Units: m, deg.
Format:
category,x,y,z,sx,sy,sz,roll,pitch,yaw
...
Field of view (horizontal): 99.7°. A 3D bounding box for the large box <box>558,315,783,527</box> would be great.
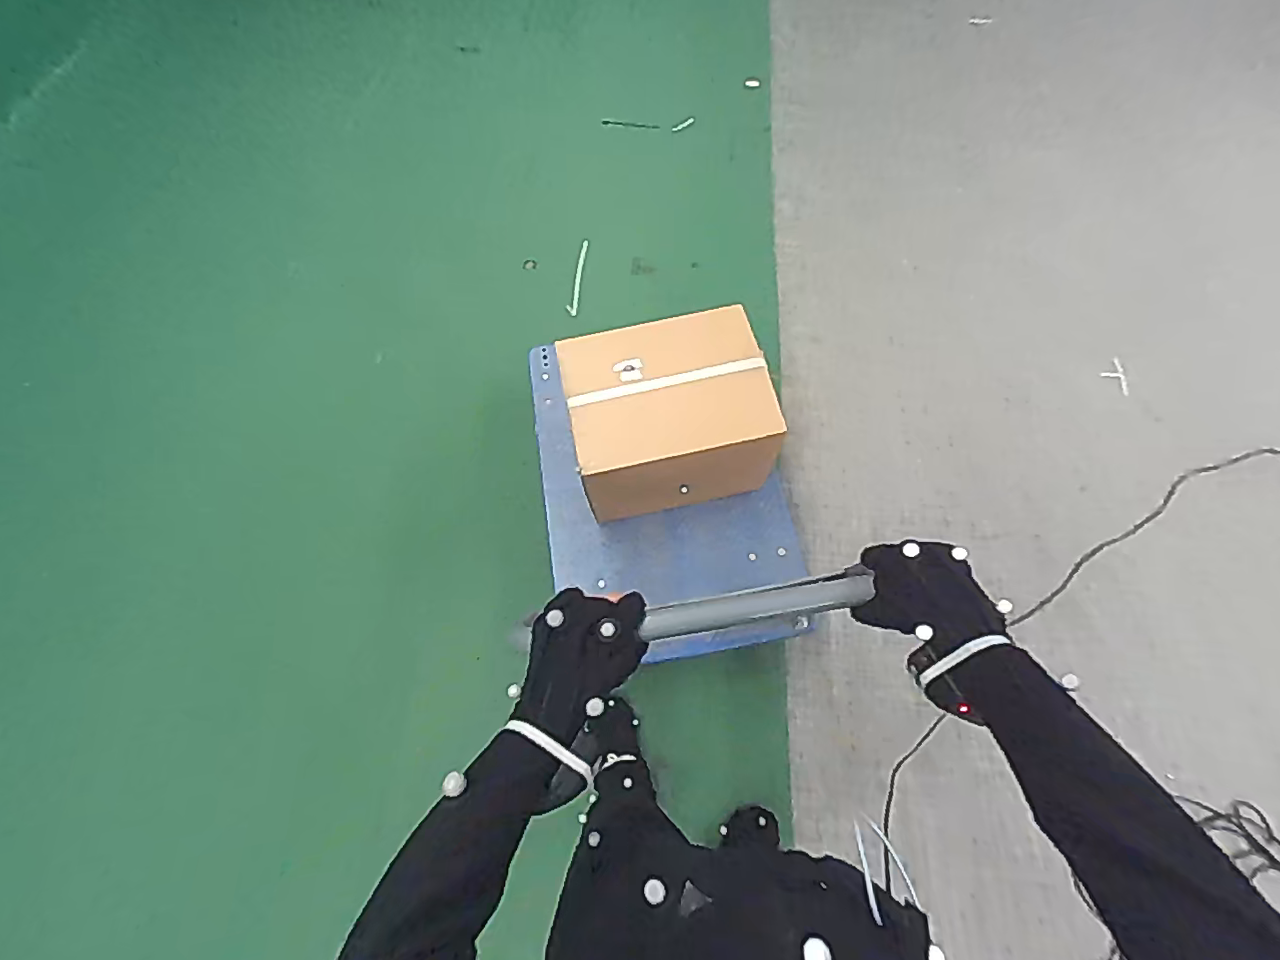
category,x,y,z,sx,sy,sz,roll,pitch,yaw
large box,0.060,-0.118,1.230,0.408,0.320,0.320,-13,68,-2
